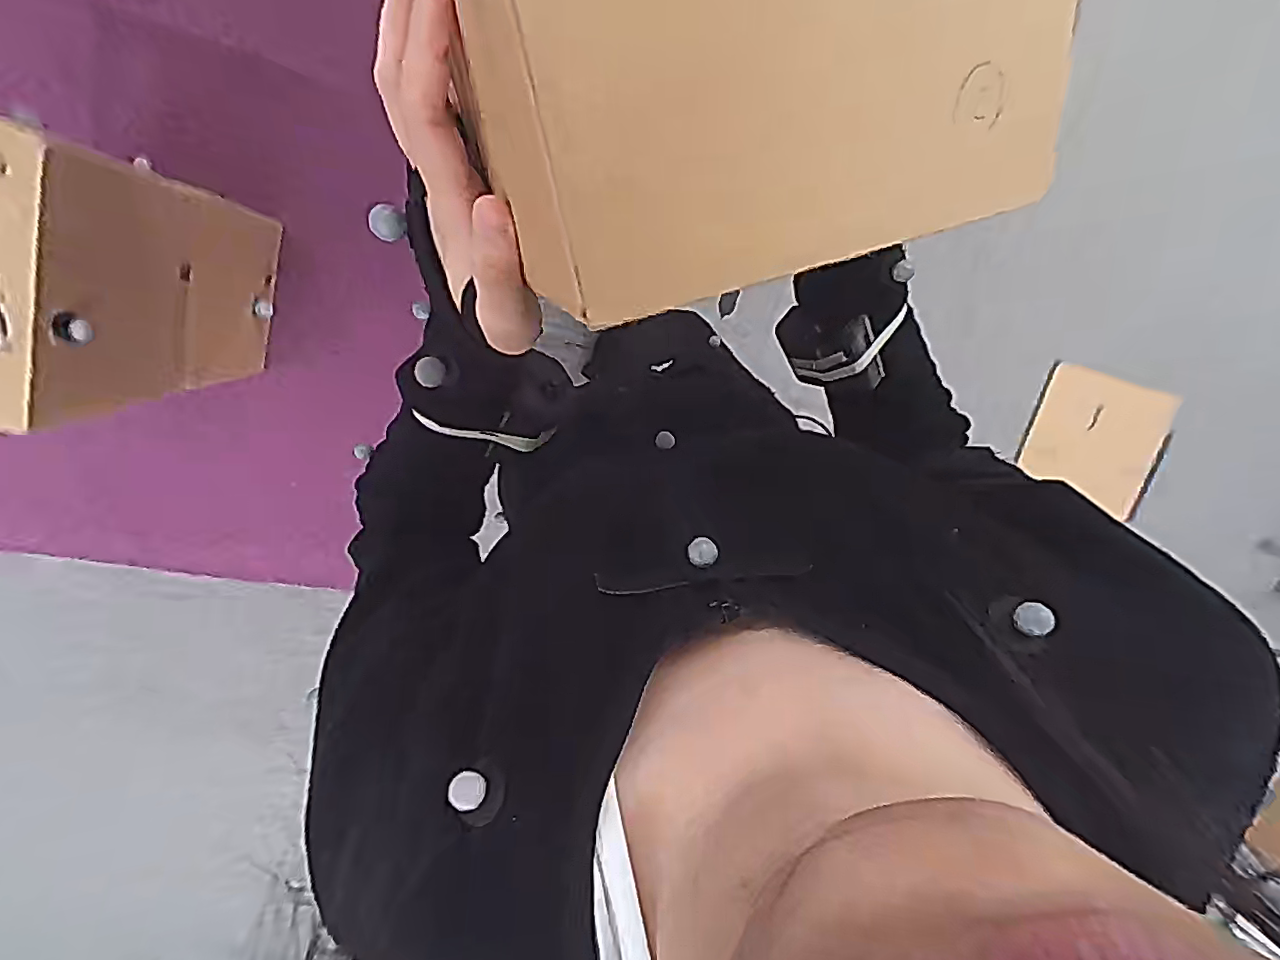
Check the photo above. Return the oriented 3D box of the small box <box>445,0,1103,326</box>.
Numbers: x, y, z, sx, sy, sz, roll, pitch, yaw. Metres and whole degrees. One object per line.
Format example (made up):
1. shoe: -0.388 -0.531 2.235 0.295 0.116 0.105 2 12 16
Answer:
1. small box: 0.023 -0.173 0.192 0.168 0.176 0.179 -19 119 -12

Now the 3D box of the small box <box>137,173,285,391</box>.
1. small box: -0.465 -0.191 0.498 0.179 0.176 0.168 13 104 -18

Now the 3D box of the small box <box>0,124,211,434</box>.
1. small box: -0.427 -0.143 0.346 0.179 0.176 0.168 14 103 -17
